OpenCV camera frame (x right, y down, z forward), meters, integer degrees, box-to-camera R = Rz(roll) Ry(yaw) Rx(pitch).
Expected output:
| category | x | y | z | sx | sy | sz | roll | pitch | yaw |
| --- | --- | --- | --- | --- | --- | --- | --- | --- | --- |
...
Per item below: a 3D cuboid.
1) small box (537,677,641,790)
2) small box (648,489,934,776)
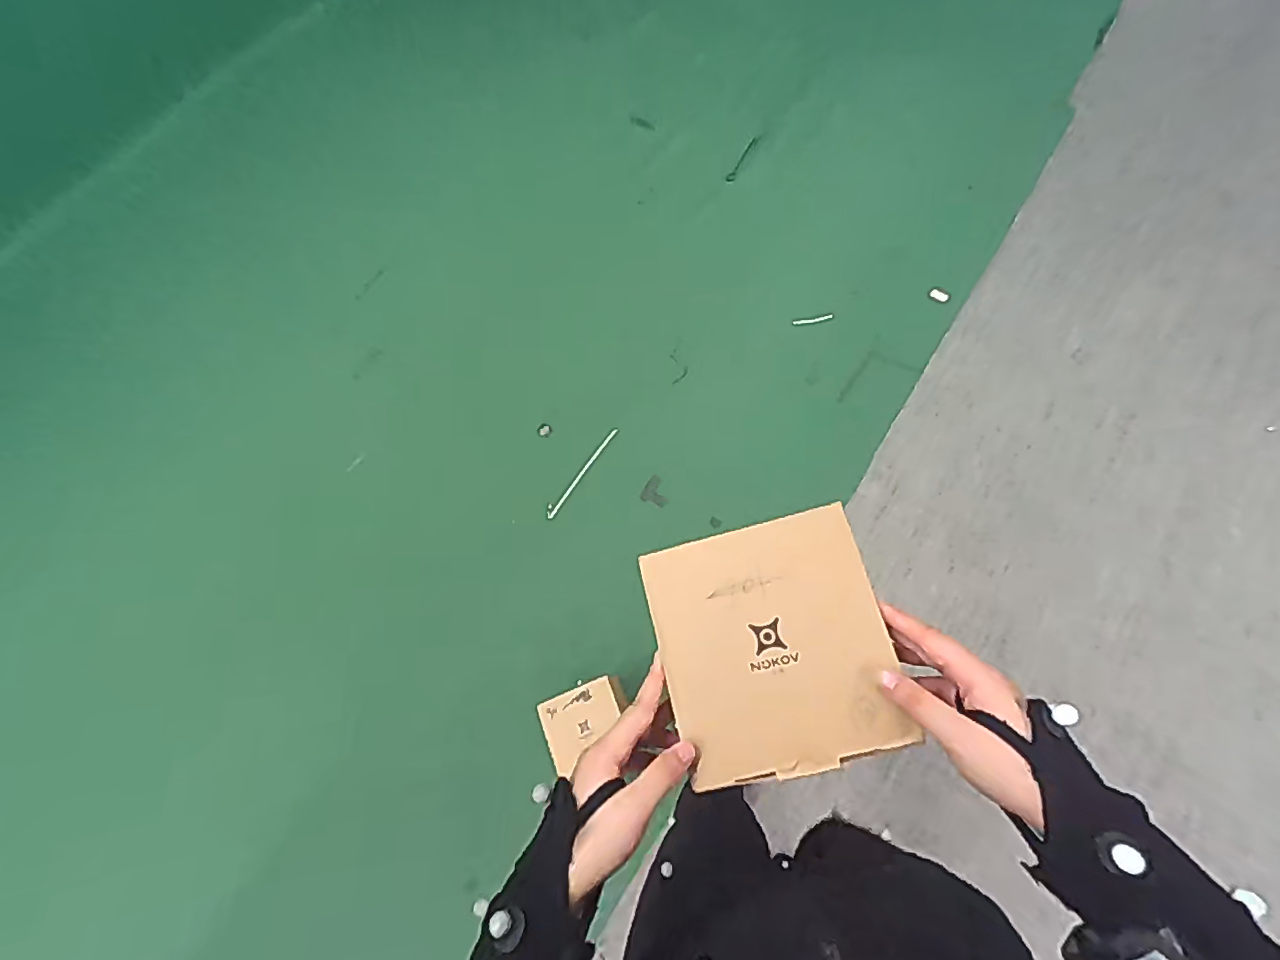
| category | x | y | z | sx | sy | sz | roll | pitch | yaw |
| --- | --- | --- | --- | --- | --- | --- | --- | --- | --- |
| small box | -0.105 | 0.548 | 1.194 | 0.168 | 0.176 | 0.179 | -22 | 69 | -3 |
| small box | 0.117 | 0.128 | 0.469 | 0.168 | 0.176 | 0.179 | -16 | 71 | 6 |
